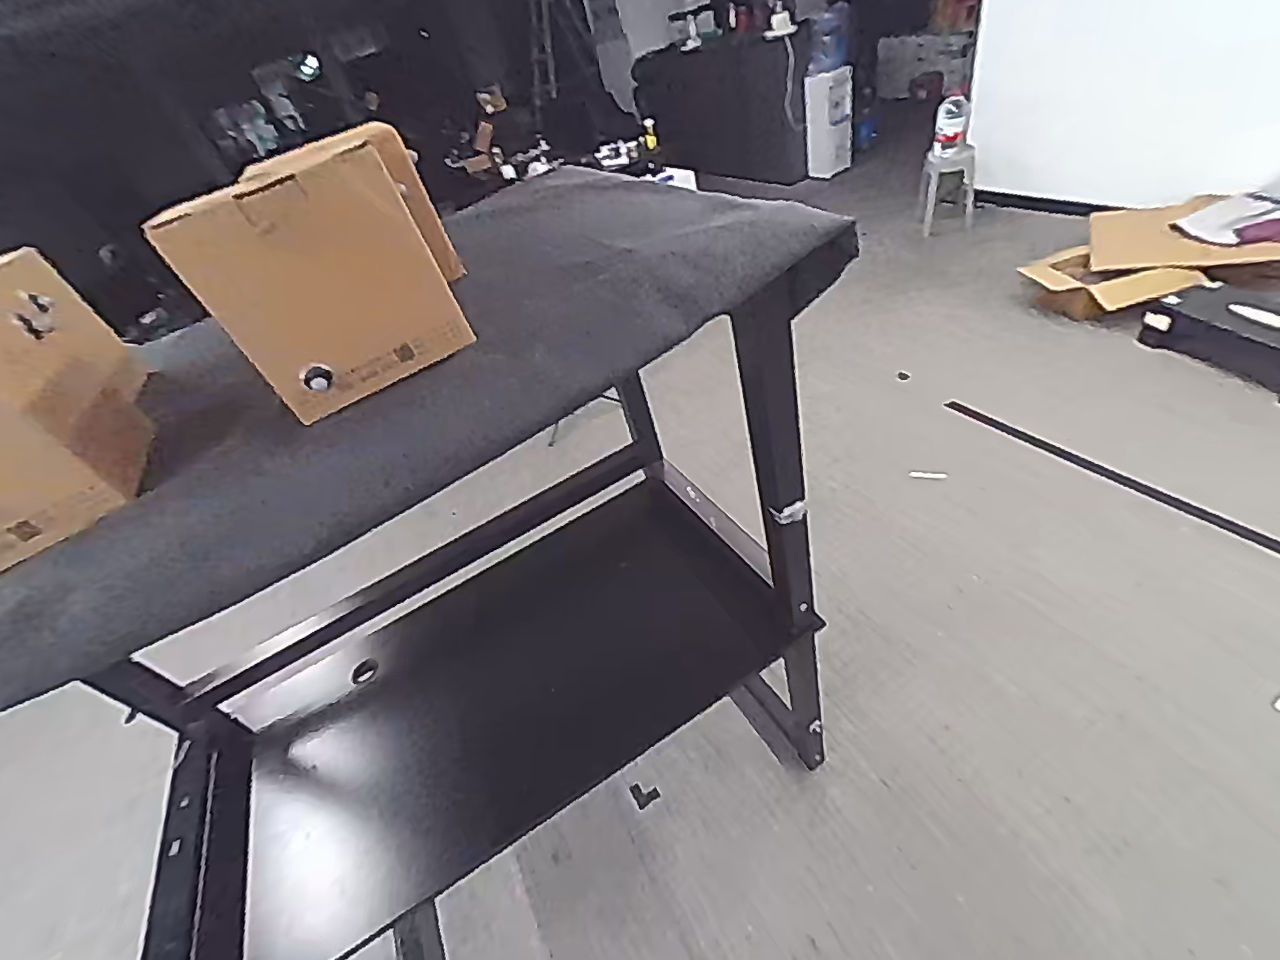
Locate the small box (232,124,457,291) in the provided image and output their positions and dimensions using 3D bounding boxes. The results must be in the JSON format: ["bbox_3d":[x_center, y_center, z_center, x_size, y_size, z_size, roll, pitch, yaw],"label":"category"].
[{"bbox_3d":[-0.349,-0.308,0.658,0.168,0.176,0.179,-30,43,-12],"label":"small box"}]

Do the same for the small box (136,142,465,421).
[{"bbox_3d":[-0.281,-0.176,0.483,0.168,0.176,0.179,-32,40,-13],"label":"small box"}]
